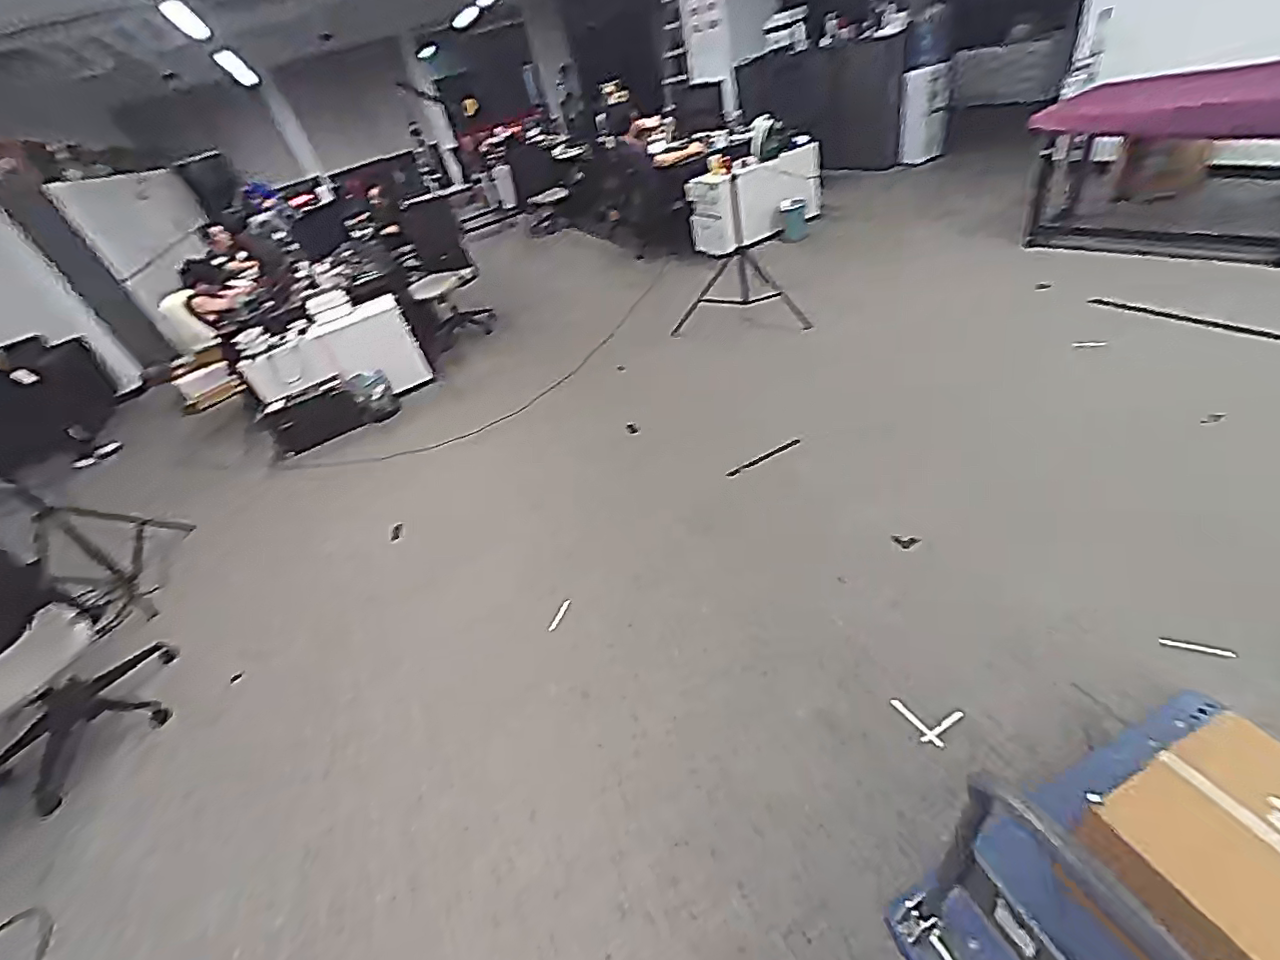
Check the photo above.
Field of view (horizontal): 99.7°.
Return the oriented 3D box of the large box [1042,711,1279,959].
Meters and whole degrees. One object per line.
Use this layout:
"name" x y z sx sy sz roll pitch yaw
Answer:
"large box" 0.944 0.665 0.828 0.320 0.320 0.408 -25 37 -11
